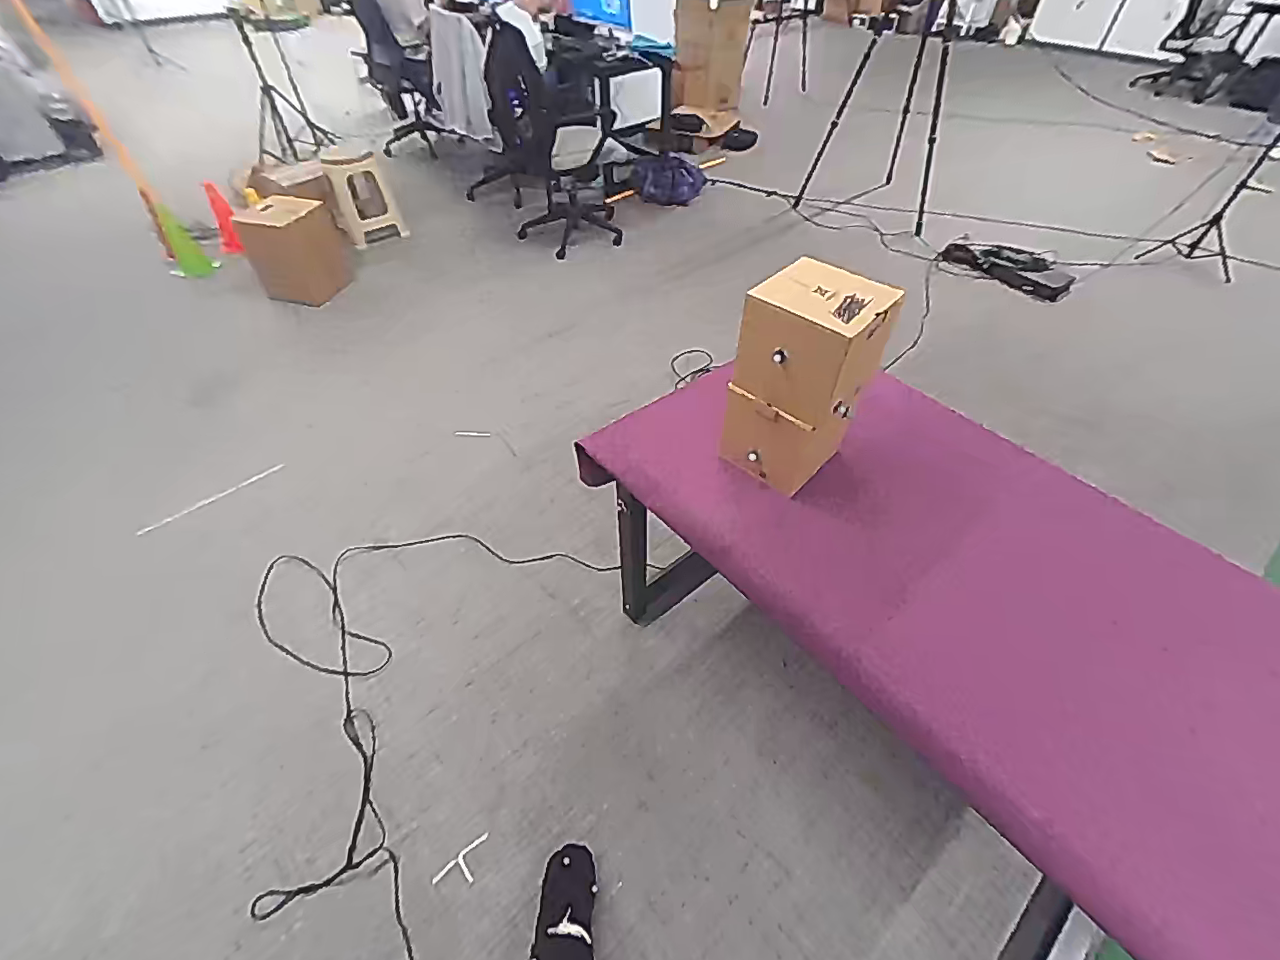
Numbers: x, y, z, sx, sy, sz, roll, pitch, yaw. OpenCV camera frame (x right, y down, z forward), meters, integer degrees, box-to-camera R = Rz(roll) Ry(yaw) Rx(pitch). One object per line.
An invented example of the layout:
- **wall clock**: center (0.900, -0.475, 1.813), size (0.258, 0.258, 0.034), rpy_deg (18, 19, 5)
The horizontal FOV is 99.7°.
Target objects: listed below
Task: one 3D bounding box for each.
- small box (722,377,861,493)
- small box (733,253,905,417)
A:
- **small box**: center (0.263, -0.112, 0.973), size (0.168, 0.176, 0.179), rpy_deg (35, 57, 28)
- **small box**: center (0.269, -0.222, 0.848), size (0.168, 0.176, 0.179), rpy_deg (-35, 57, -29)
